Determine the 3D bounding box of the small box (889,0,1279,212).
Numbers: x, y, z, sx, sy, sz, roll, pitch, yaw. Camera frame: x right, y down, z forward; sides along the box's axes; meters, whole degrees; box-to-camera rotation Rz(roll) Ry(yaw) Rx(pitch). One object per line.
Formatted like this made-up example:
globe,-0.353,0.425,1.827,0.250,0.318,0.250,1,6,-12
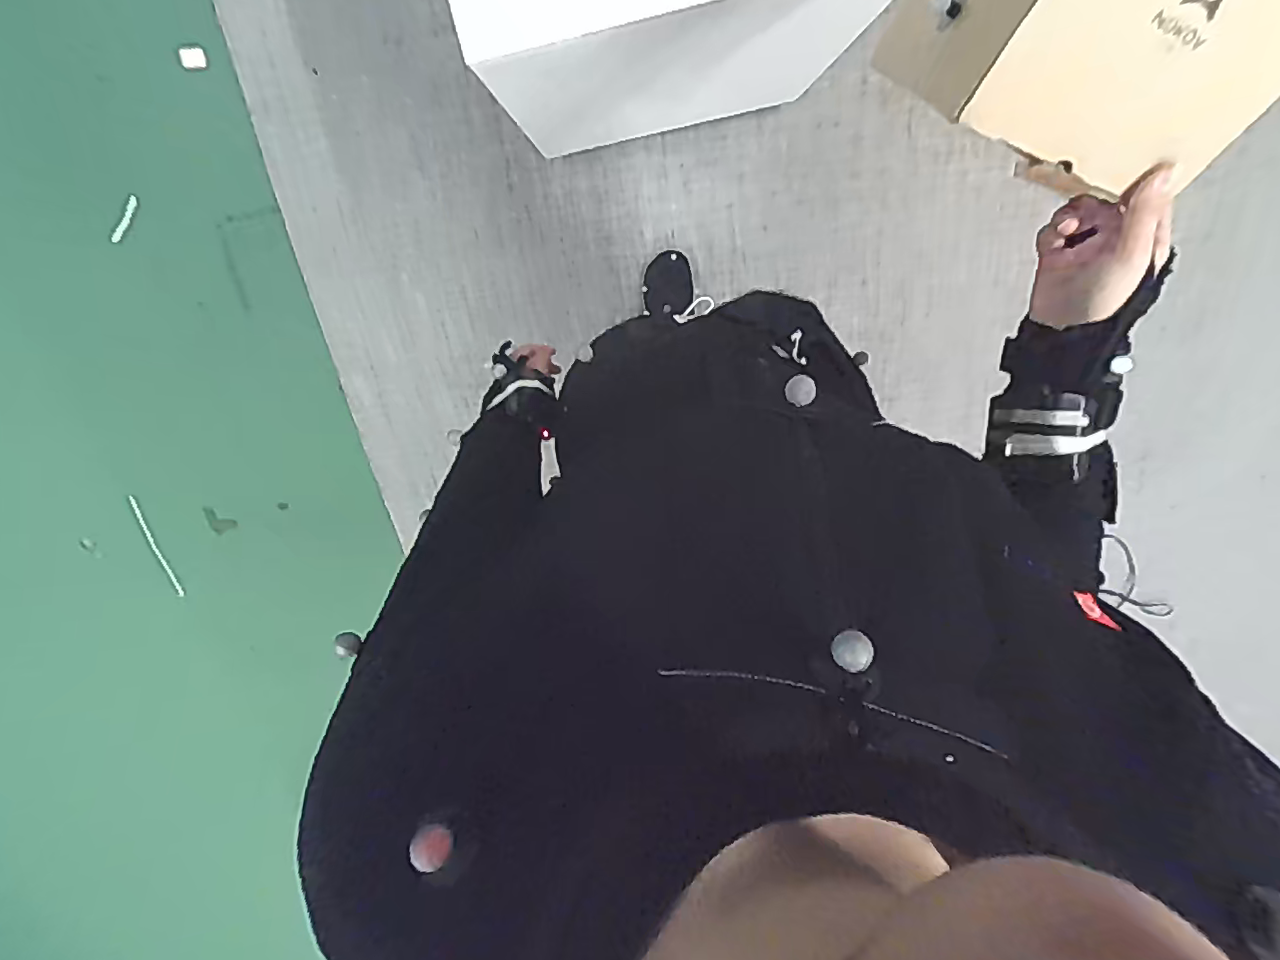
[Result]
small box,0.280,-0.304,0.326,0.168,0.176,0.179,12,135,-14
